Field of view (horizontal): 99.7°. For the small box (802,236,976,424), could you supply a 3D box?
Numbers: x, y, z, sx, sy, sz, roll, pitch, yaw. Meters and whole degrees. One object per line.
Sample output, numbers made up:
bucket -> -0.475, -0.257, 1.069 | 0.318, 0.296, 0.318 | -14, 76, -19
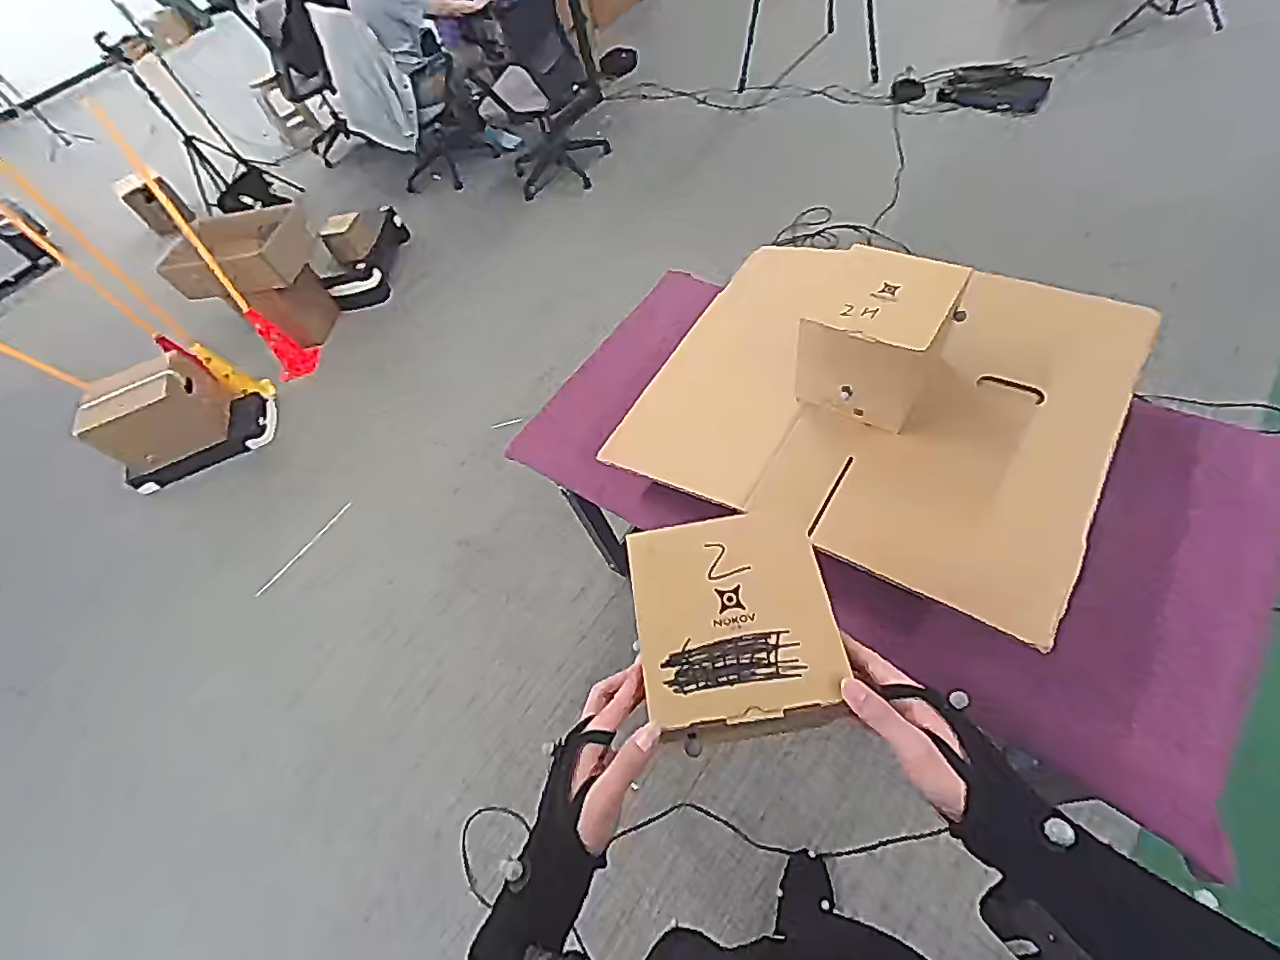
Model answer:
small box -> 0.349, -0.216, 0.790 | 0.168, 0.176, 0.179 | 27, 68, 26
